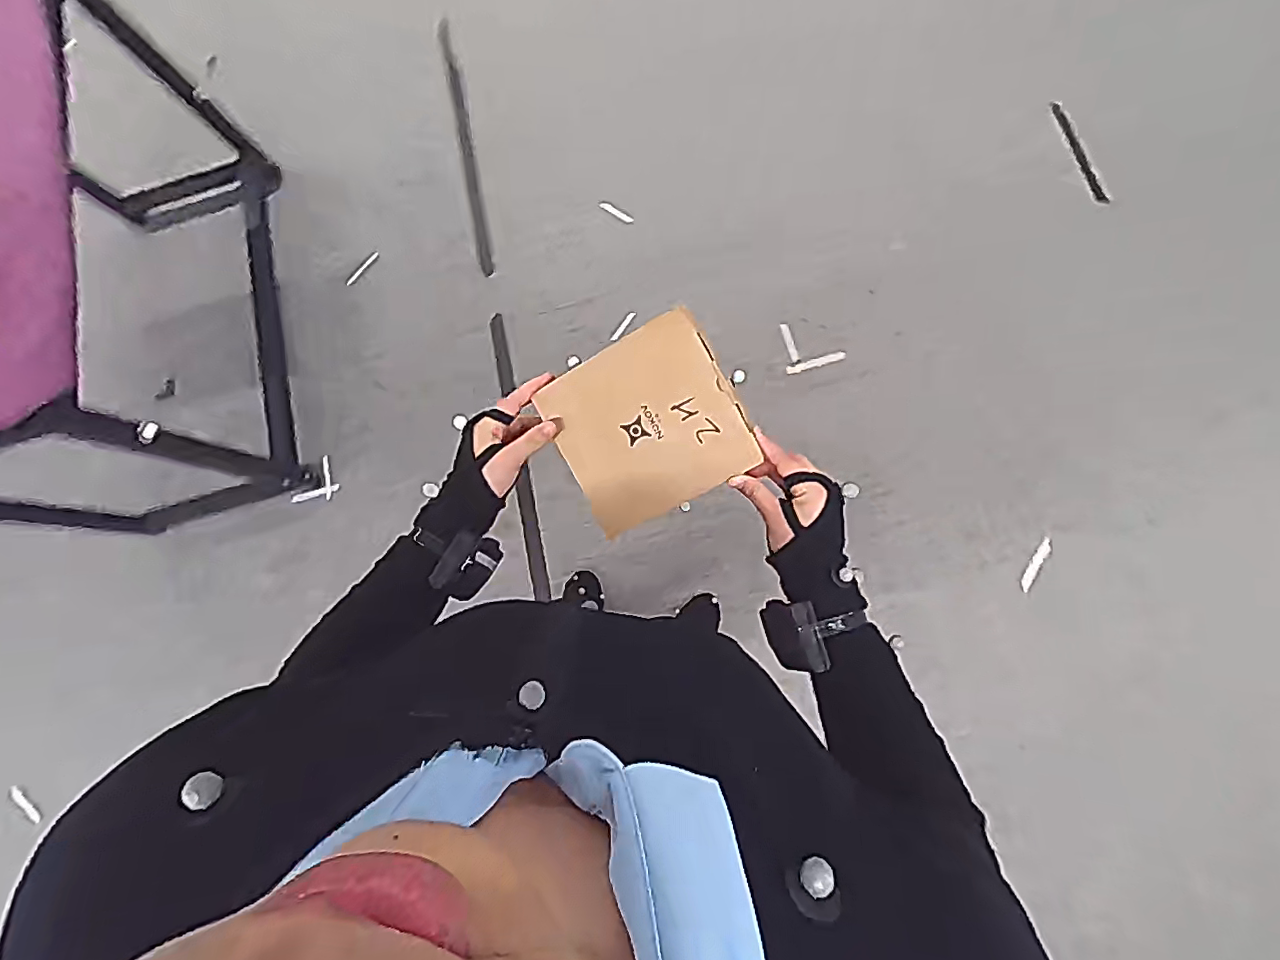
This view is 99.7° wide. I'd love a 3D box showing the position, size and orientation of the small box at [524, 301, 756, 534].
[{"bbox_3d":[0.012,-0.068,0.587,0.179,0.176,0.168,-28,96,15],"label":"small box"}]
